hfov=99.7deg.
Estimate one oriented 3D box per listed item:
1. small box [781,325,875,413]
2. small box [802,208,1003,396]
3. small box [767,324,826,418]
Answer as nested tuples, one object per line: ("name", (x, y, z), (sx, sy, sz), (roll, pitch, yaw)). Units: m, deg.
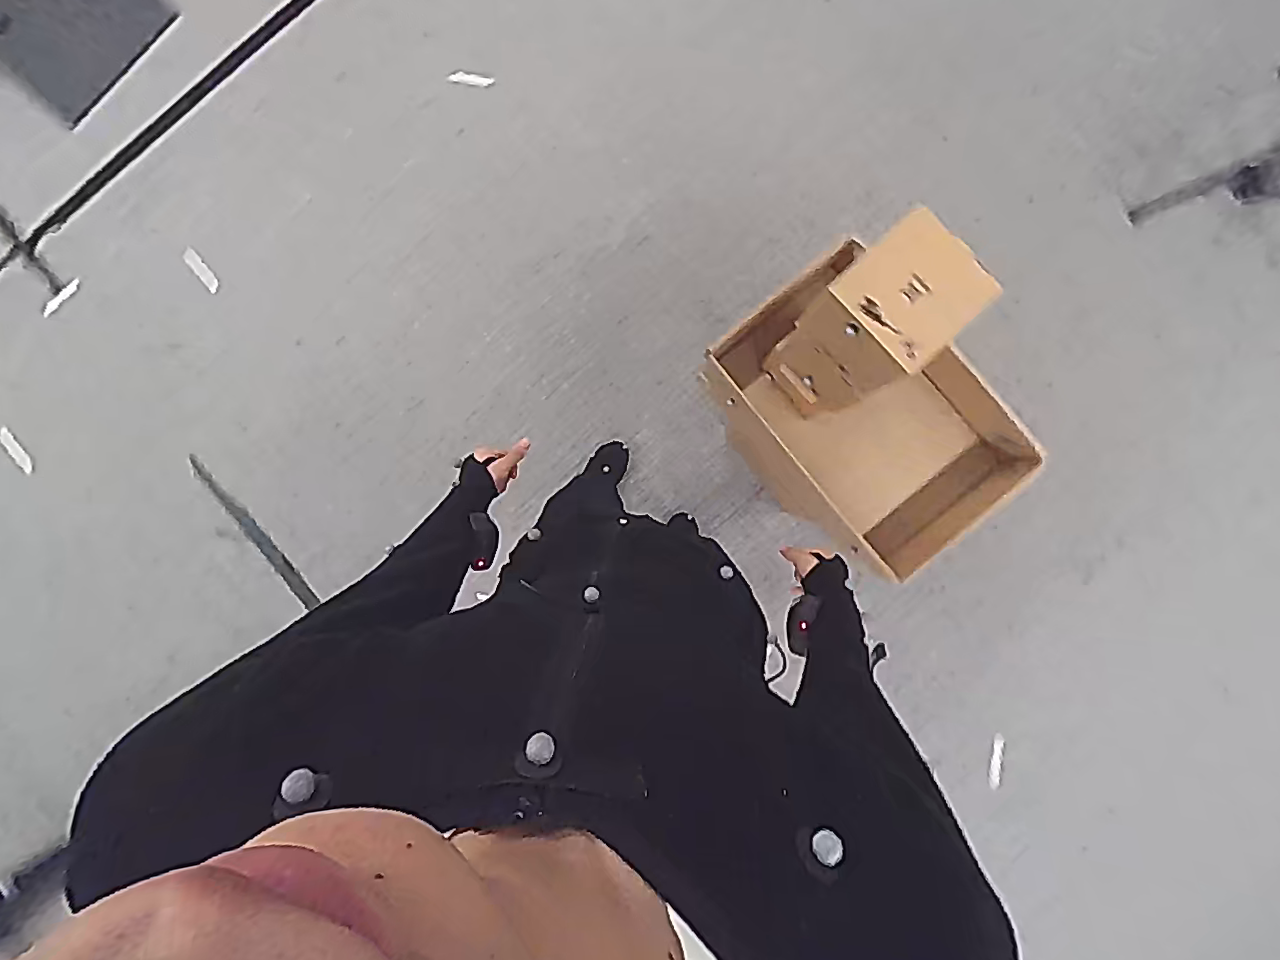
("small box", (0.382, -0.243, 0.972), (0.179, 0.176, 0.168), (-41, 88, 1))
("small box", (0.374, -0.251, 0.807), (0.179, 0.176, 0.168), (-41, 88, 0))
("small box", (0.386, -0.249, 1.136), (0.179, 0.176, 0.168), (-40, 88, 0))
